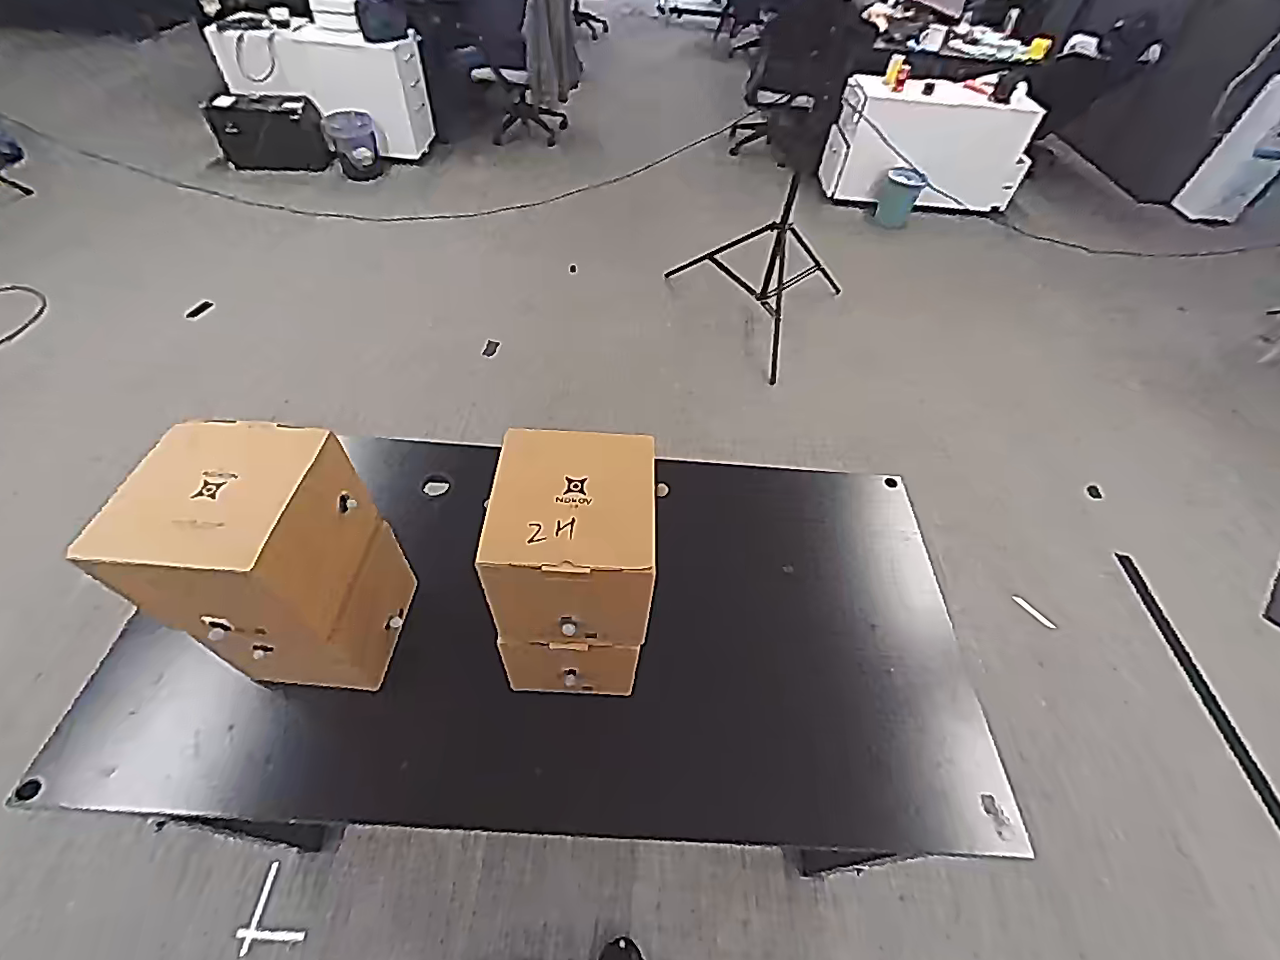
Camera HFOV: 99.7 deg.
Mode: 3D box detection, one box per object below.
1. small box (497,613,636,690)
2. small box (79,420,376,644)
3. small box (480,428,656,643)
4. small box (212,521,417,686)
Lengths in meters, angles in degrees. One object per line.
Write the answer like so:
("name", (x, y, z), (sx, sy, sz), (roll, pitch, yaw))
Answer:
("small box", (-0.086, 0.174, 0.738), (0.168, 0.176, 0.179), (3, 50, -2))
("small box", (-0.415, 0.059, 0.590), (0.168, 0.176, 0.179), (4, 51, 0))
("small box", (-0.071, 0.065, 0.614), (0.168, 0.176, 0.179), (3, 50, -2))
("small box", (-0.423, 0.161, 0.717), (0.179, 0.176, 0.168), (6, 50, -2))
